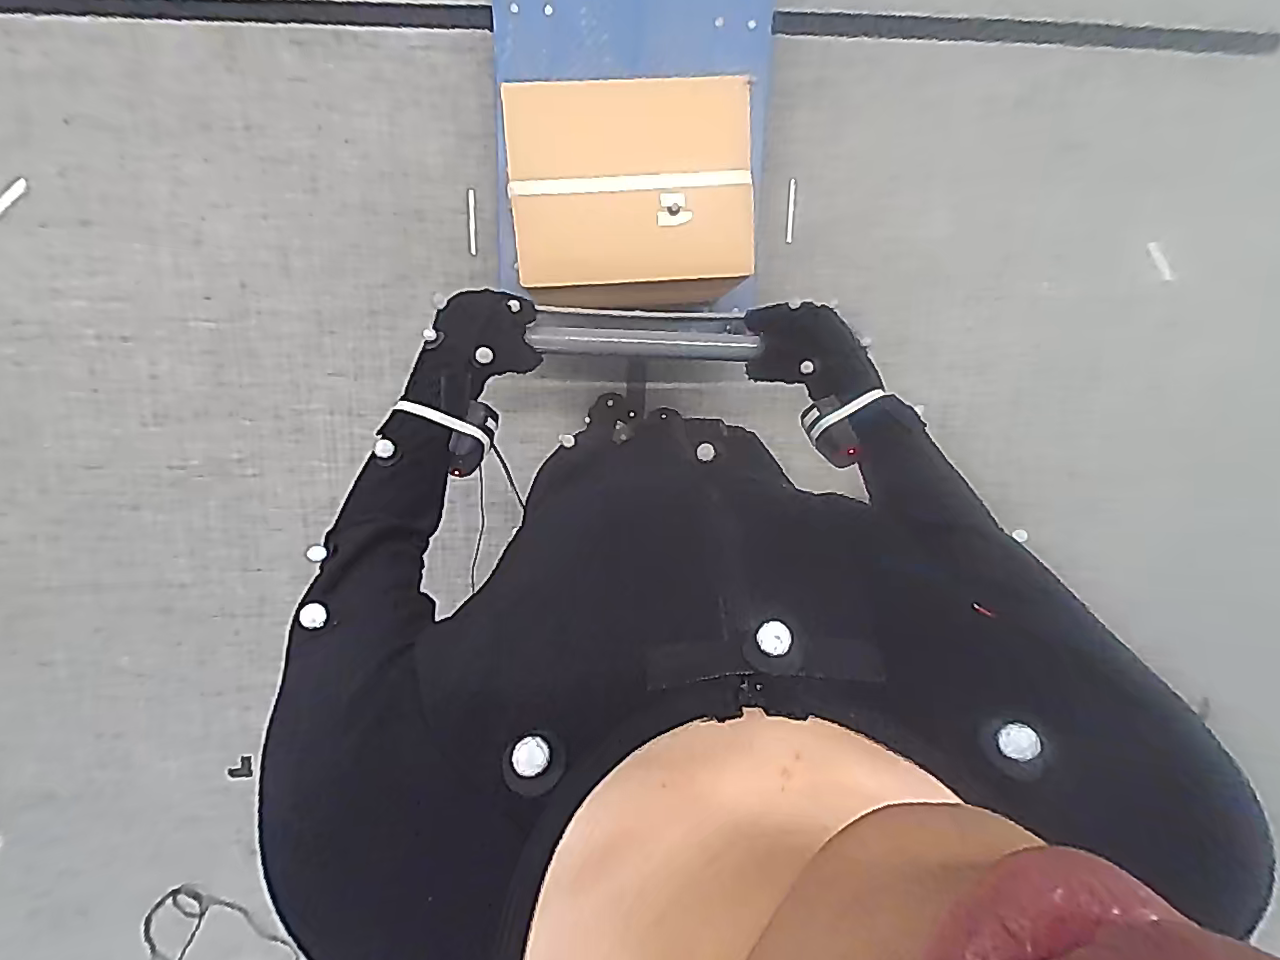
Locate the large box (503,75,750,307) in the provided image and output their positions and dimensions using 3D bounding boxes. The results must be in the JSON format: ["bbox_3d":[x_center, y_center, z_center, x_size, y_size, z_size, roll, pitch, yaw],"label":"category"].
[{"bbox_3d":[-0.027,-0.532,1.060,0.408,0.320,0.320,-5,101,-4],"label":"large box"}]
